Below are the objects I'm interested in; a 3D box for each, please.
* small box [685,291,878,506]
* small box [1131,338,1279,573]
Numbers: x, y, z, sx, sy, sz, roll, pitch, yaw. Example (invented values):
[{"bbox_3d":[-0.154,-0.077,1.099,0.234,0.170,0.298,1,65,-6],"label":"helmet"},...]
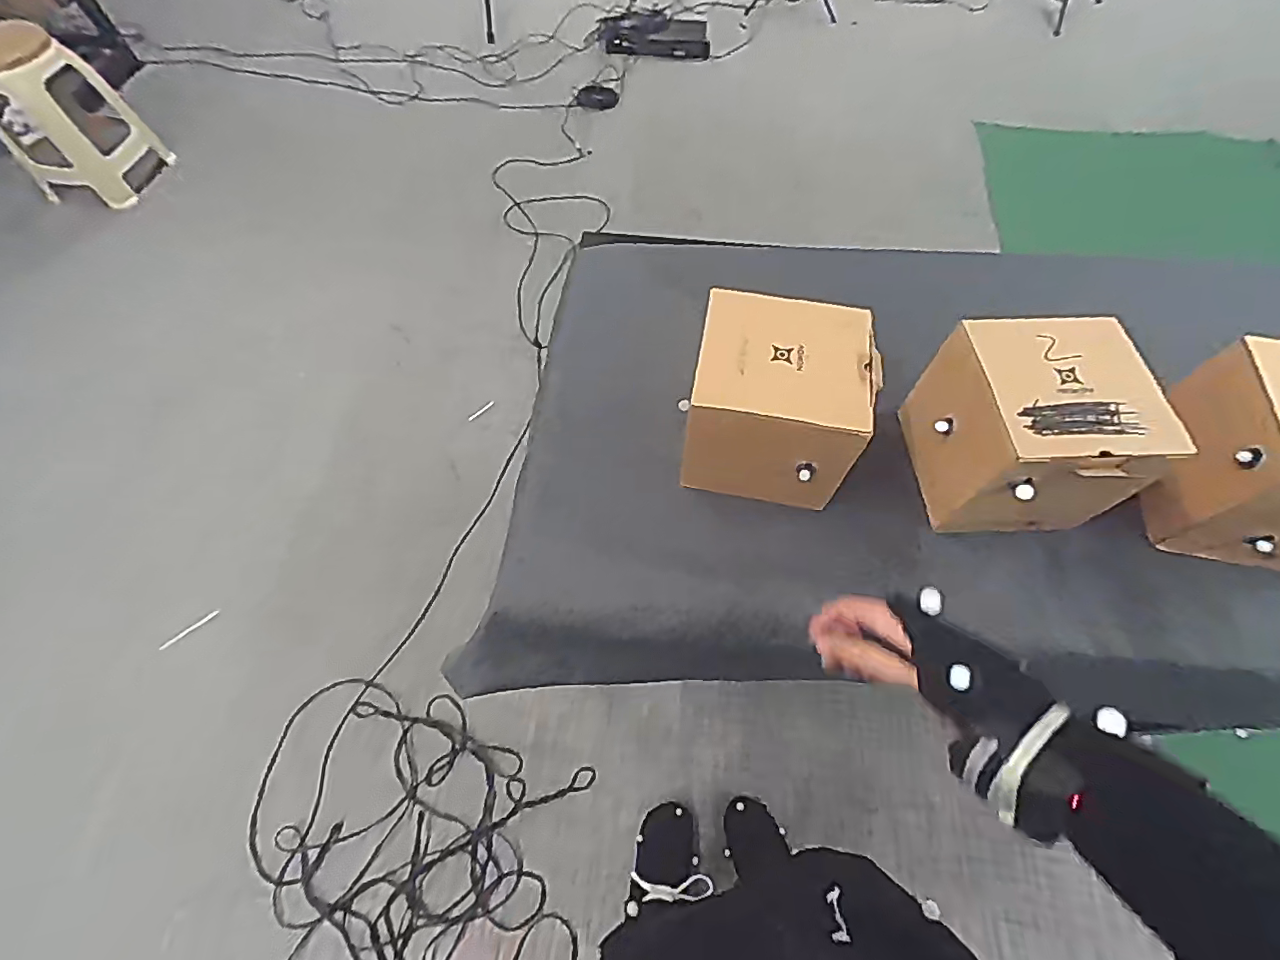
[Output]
[{"bbox_3d":[0.153,-0.085,0.619,0.179,0.176,0.168,9,60,6],"label":"small box"},{"bbox_3d":[0.686,-0.020,0.580,0.168,0.176,0.179,10,62,6],"label":"small box"}]
